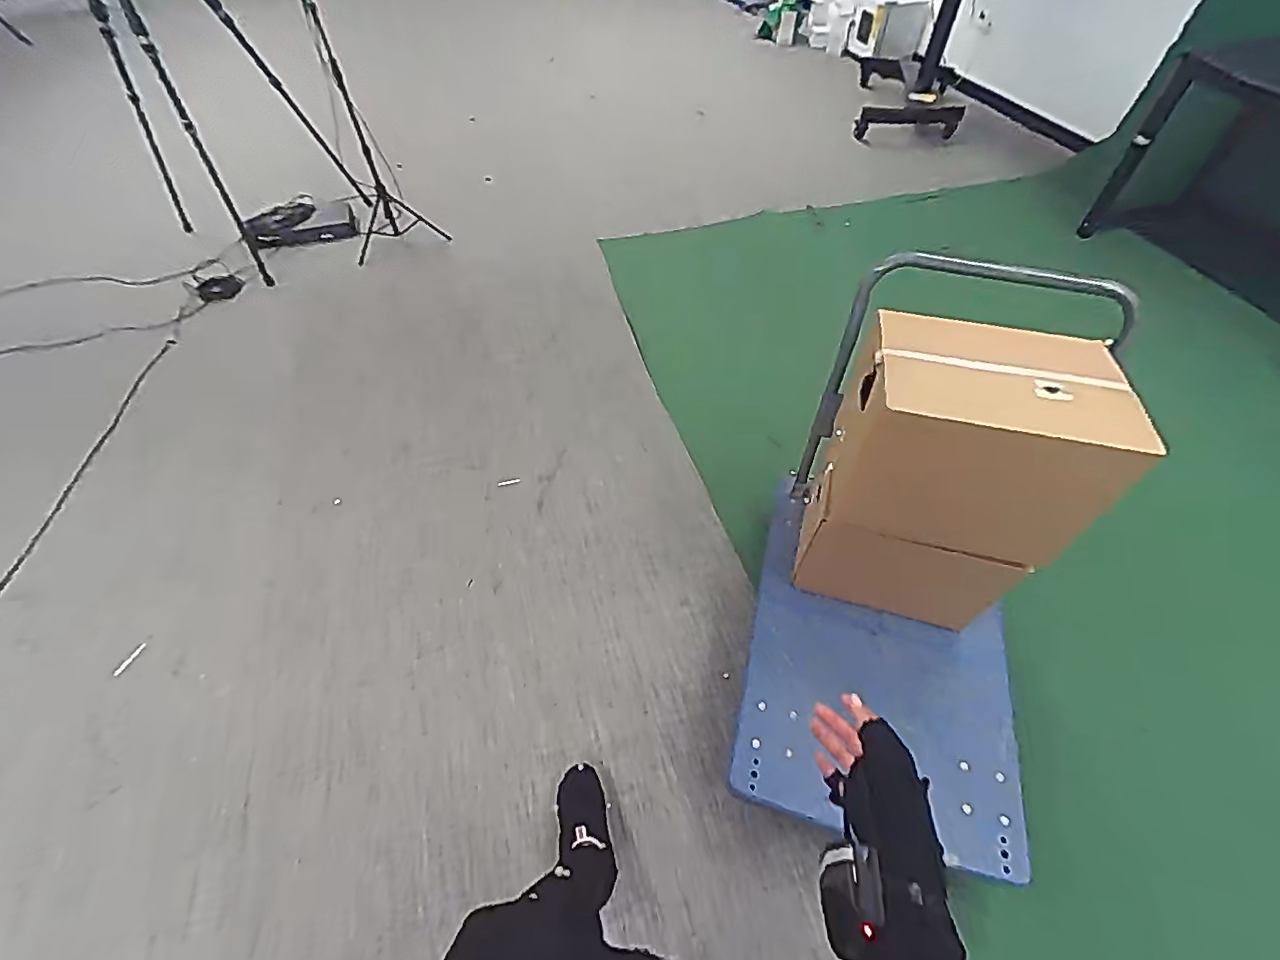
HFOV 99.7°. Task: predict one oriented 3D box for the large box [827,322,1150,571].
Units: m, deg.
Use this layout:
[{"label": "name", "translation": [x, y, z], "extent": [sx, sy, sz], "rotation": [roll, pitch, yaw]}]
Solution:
[{"label": "large box", "translation": [0.605, -0.067, 1.046], "extent": [0.408, 0.320, 0.320], "rotation": [12, 48, 8]}]
